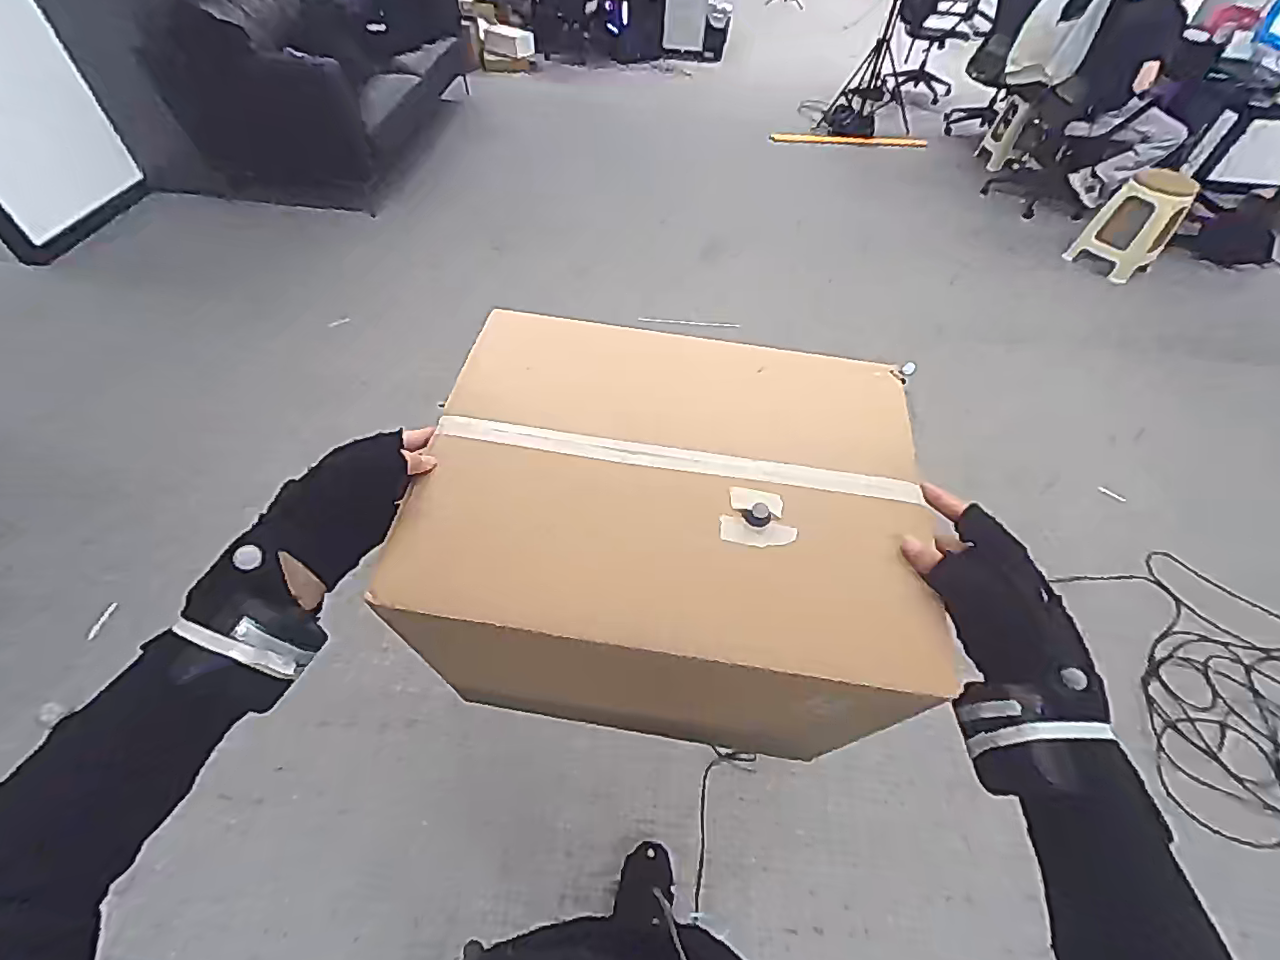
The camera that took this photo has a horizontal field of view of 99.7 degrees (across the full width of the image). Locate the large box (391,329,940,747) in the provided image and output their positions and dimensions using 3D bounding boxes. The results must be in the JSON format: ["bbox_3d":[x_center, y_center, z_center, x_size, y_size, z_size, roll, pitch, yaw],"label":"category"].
[{"bbox_3d":[0.025,0.075,0.588,0.408,0.320,0.320,8,56,2],"label":"large box"}]
